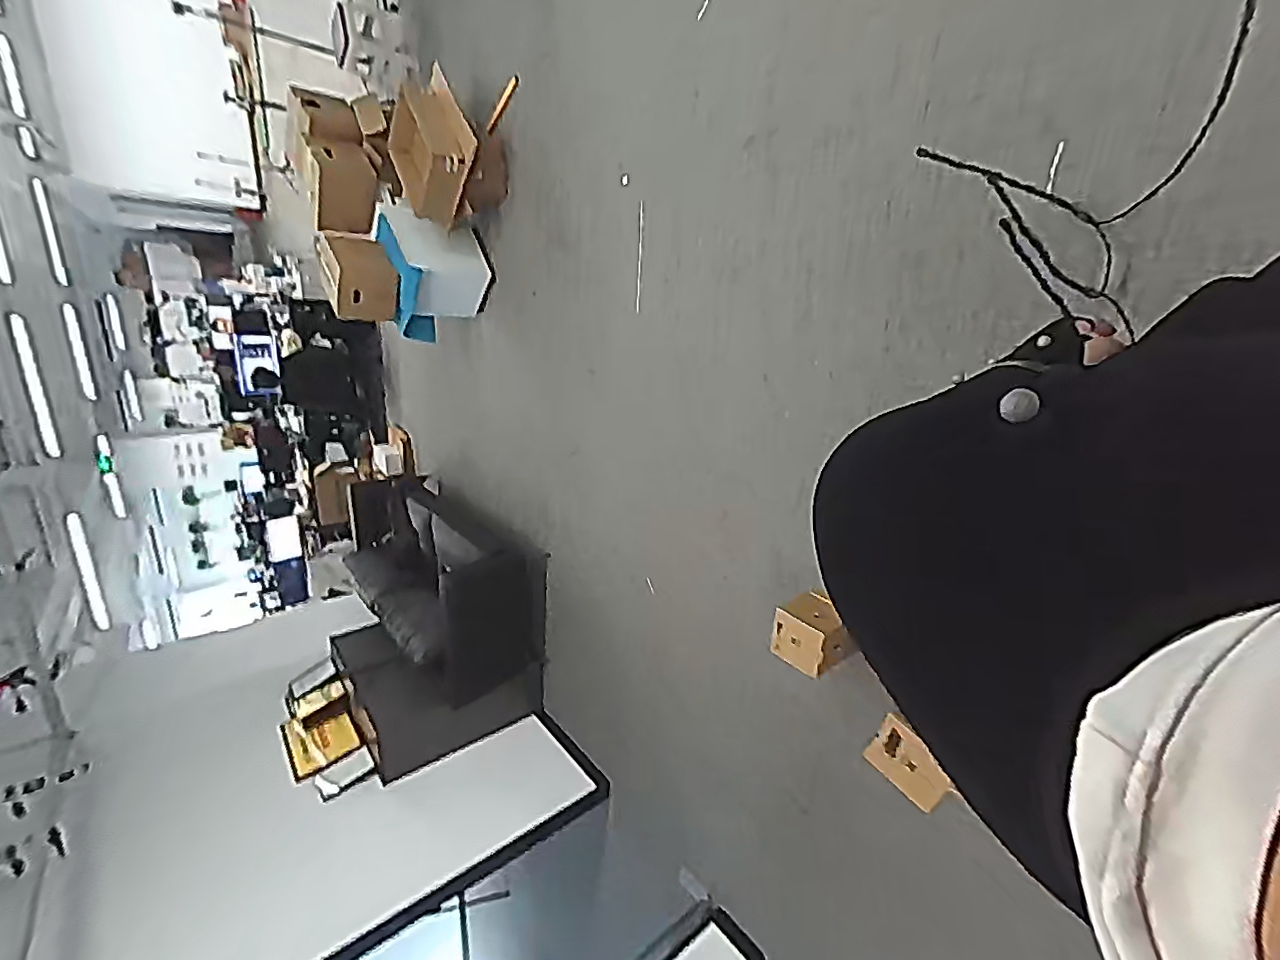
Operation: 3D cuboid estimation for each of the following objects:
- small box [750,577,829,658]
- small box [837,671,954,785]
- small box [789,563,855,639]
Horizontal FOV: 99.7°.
[{"bbox_3d":[0.486,0.435,1.751,0.179,0.176,0.168,26,119,42],"label":"small box"},{"bbox_3d":[0.639,0.606,1.354,0.179,0.176,0.168,39,128,36],"label":"small box"},{"bbox_3d":[0.614,0.404,1.850,0.168,0.176,0.179,24,118,44],"label":"small box"}]
